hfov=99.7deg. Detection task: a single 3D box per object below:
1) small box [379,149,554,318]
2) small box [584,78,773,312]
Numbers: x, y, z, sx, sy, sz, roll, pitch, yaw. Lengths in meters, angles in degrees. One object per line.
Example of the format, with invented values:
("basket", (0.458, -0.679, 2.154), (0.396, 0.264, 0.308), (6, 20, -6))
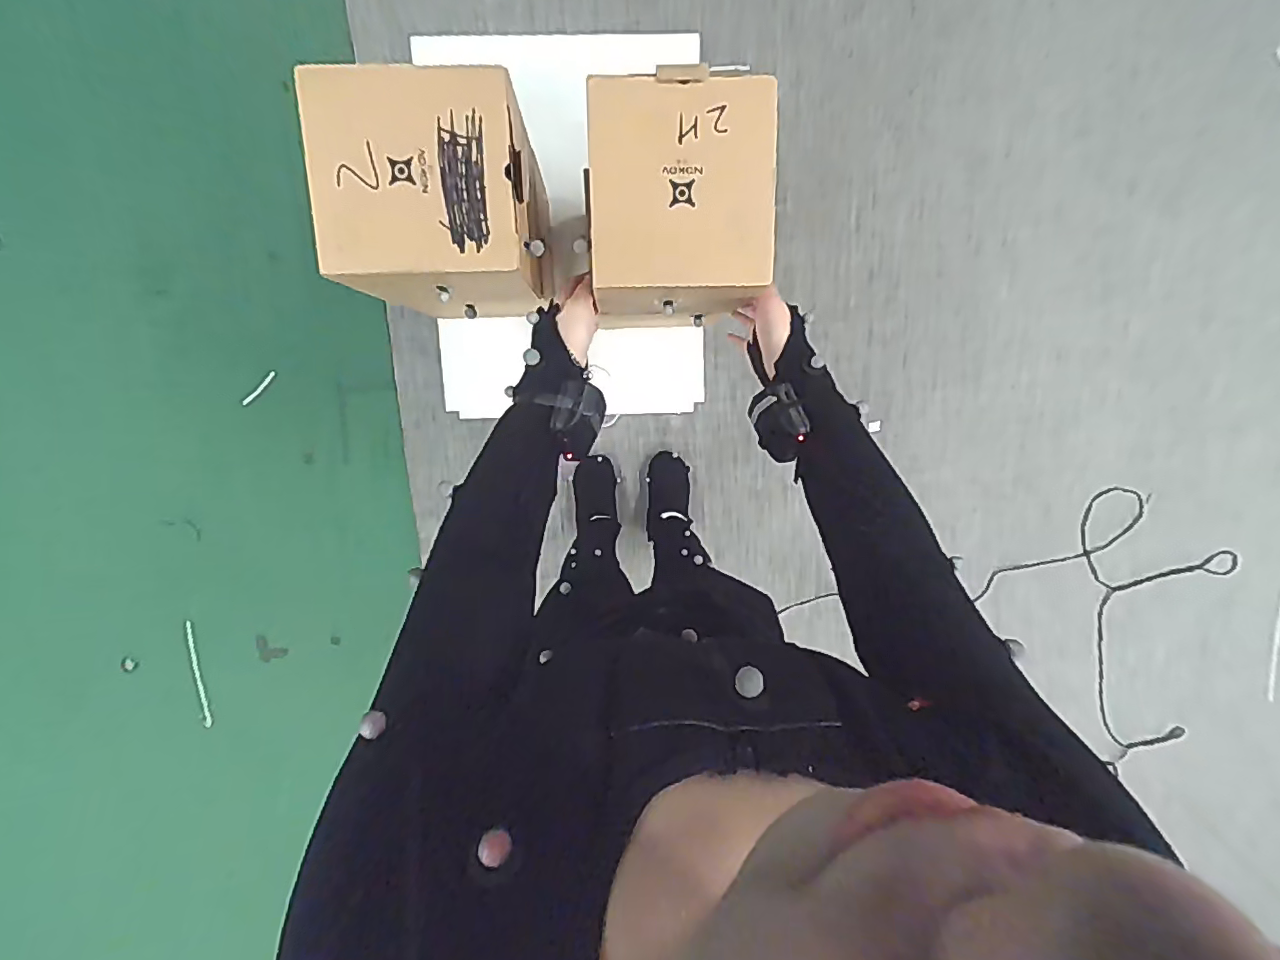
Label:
("small box", (-0.211, -0.307, 0.704), (0.179, 0.176, 0.168), (-3, 100, -4))
("small box", (0.031, -0.271, 0.556), (0.168, 0.176, 0.179), (-2, 99, -3))
